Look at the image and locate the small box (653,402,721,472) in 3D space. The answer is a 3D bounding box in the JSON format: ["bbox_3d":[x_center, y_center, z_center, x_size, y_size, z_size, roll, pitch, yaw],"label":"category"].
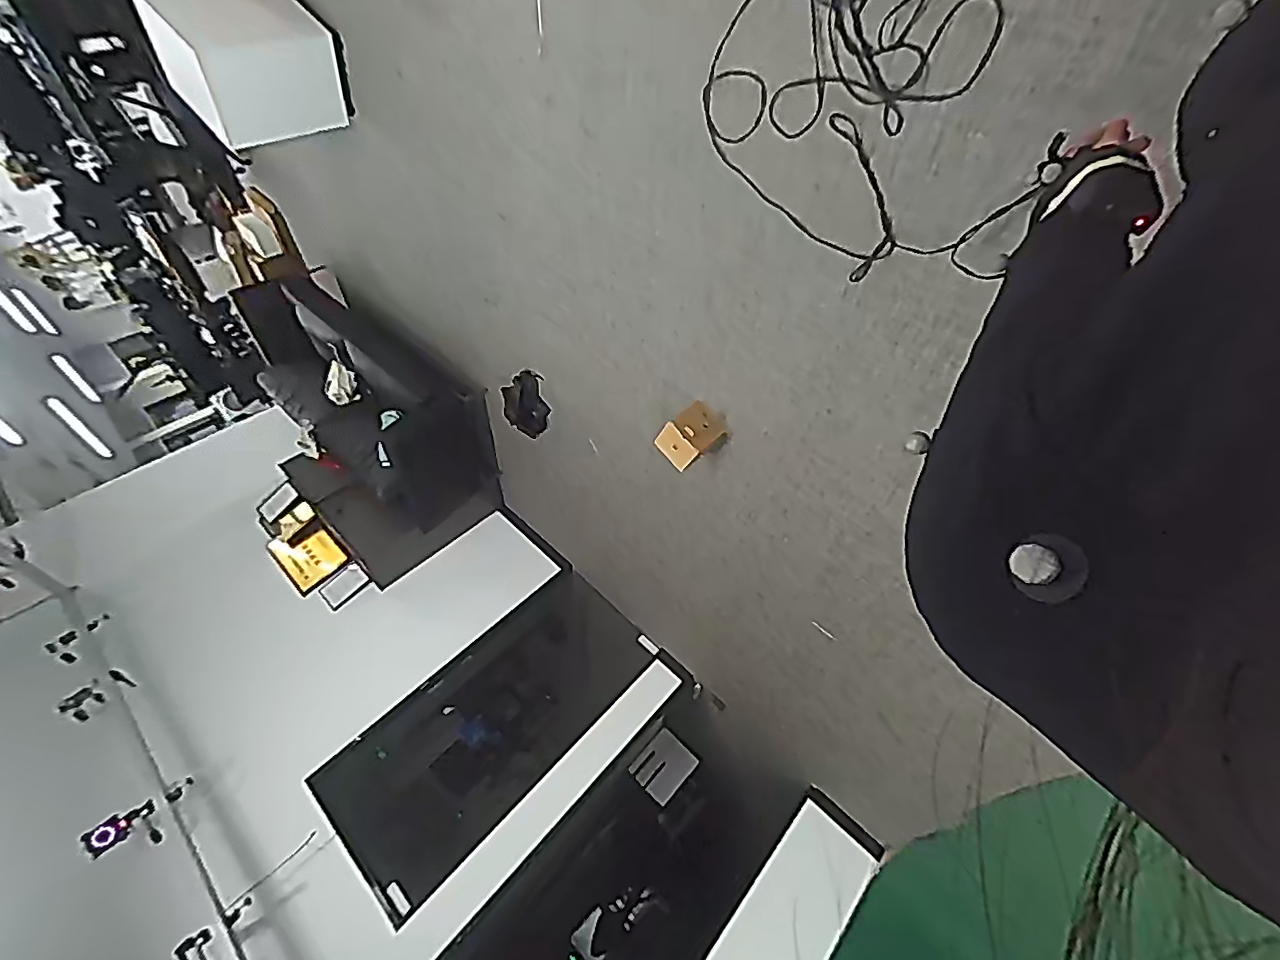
[{"bbox_3d":[0.183,-0.167,2.089,0.168,0.176,0.179,49,149,7],"label":"small box"}]
